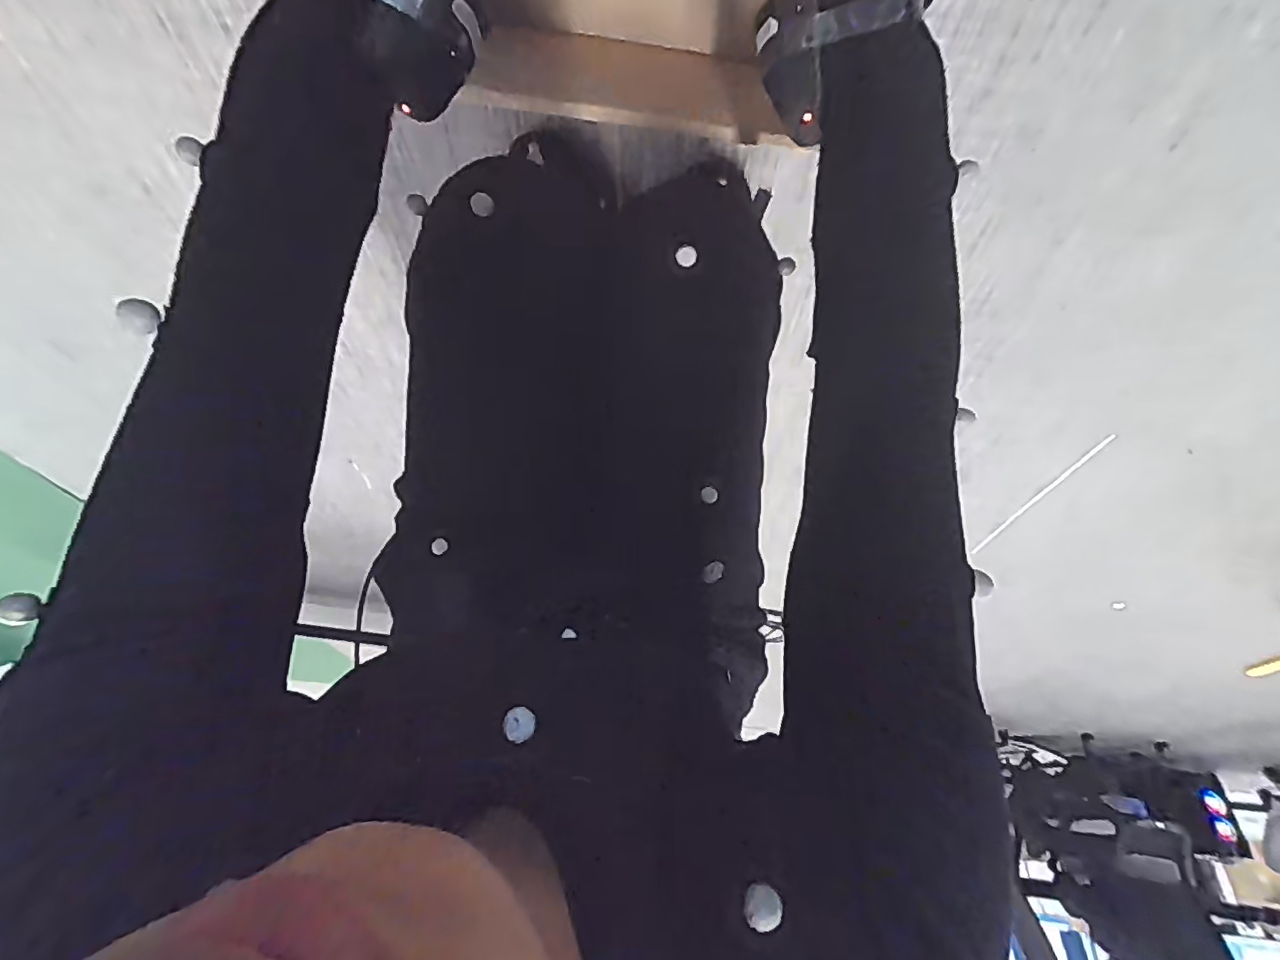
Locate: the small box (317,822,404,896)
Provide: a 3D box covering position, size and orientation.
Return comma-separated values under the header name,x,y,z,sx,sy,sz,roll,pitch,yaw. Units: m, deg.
name,x,y,z,sx,sy,sz,roll,pitch,yaw
small box,-0.844,1.149,1.650,0.168,0.176,0.179,10,148,-4
